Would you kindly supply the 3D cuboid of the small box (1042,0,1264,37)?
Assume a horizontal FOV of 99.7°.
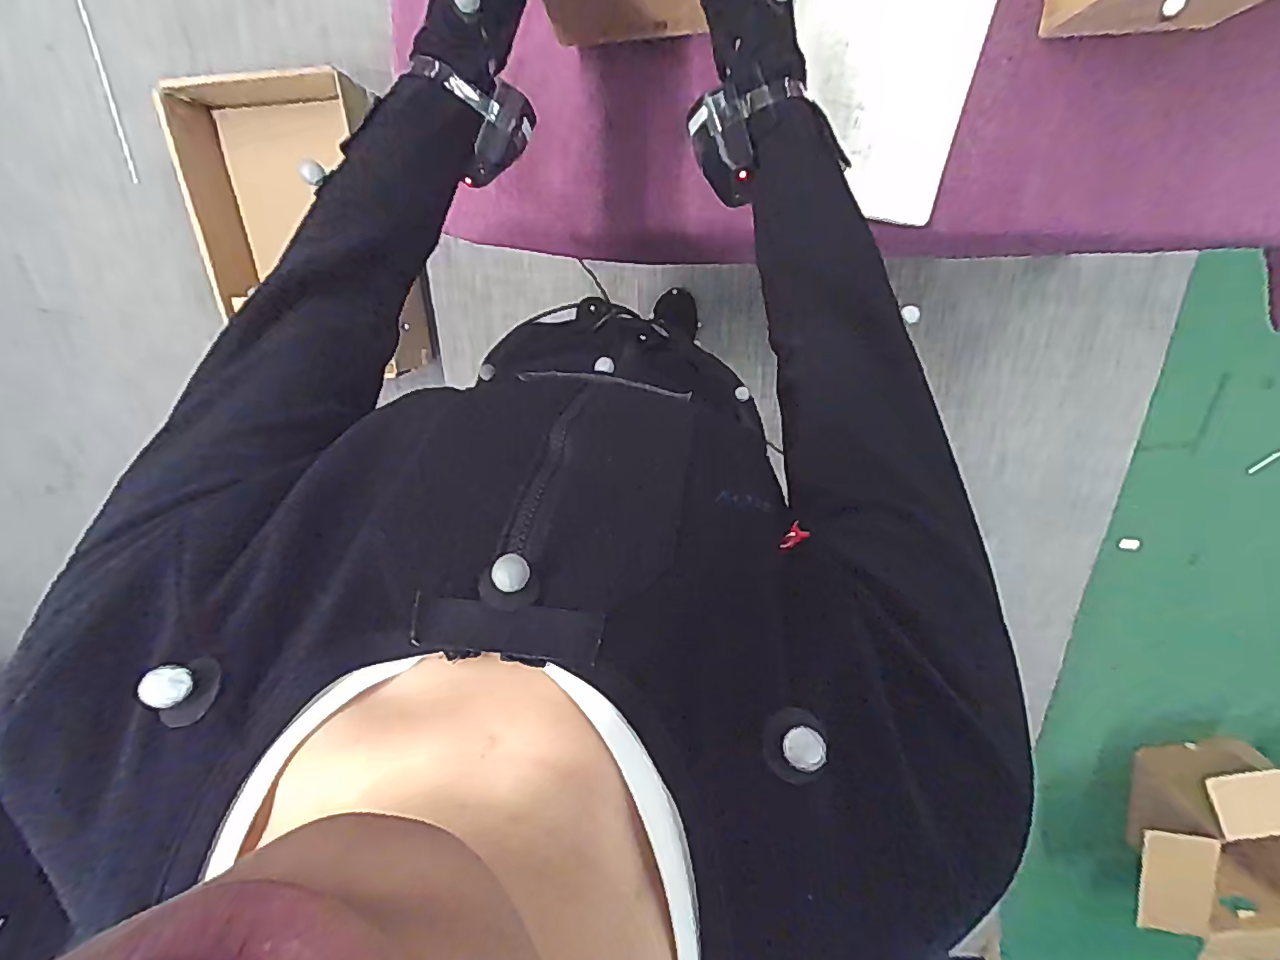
[{"bbox_3d":[0.471,-0.494,0.438,0.168,0.176,0.179,0,110,4],"label":"small box"}]
